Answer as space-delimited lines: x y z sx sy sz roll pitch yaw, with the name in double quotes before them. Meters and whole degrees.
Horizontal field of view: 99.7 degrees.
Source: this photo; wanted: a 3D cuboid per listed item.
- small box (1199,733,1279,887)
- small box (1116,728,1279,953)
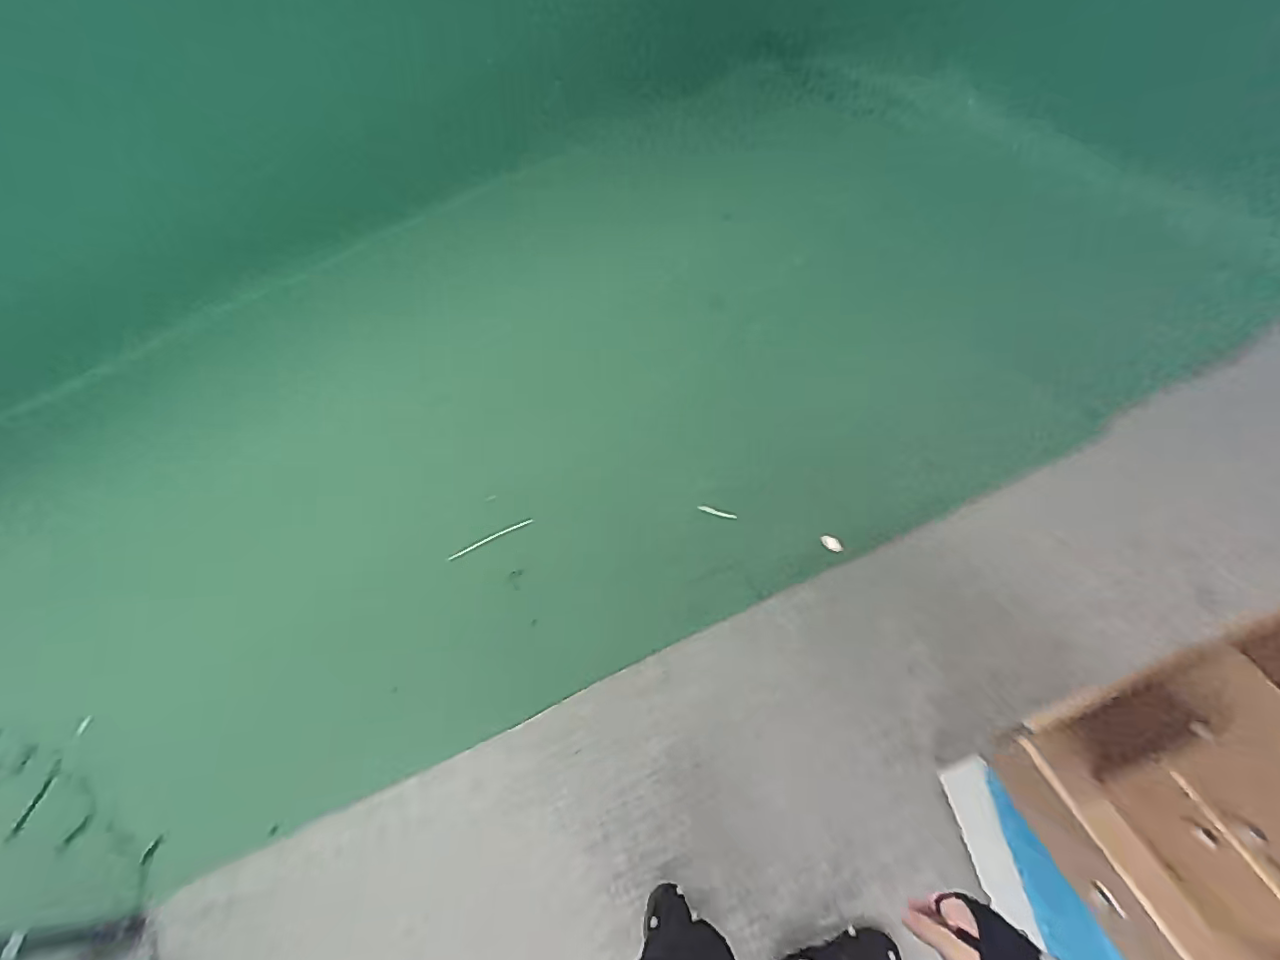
"small box" 0.673 0.300 0.468 0.179 0.176 0.168 -24 55 -2
"small box" 0.702 0.391 0.600 0.179 0.176 0.168 -23 54 -2
